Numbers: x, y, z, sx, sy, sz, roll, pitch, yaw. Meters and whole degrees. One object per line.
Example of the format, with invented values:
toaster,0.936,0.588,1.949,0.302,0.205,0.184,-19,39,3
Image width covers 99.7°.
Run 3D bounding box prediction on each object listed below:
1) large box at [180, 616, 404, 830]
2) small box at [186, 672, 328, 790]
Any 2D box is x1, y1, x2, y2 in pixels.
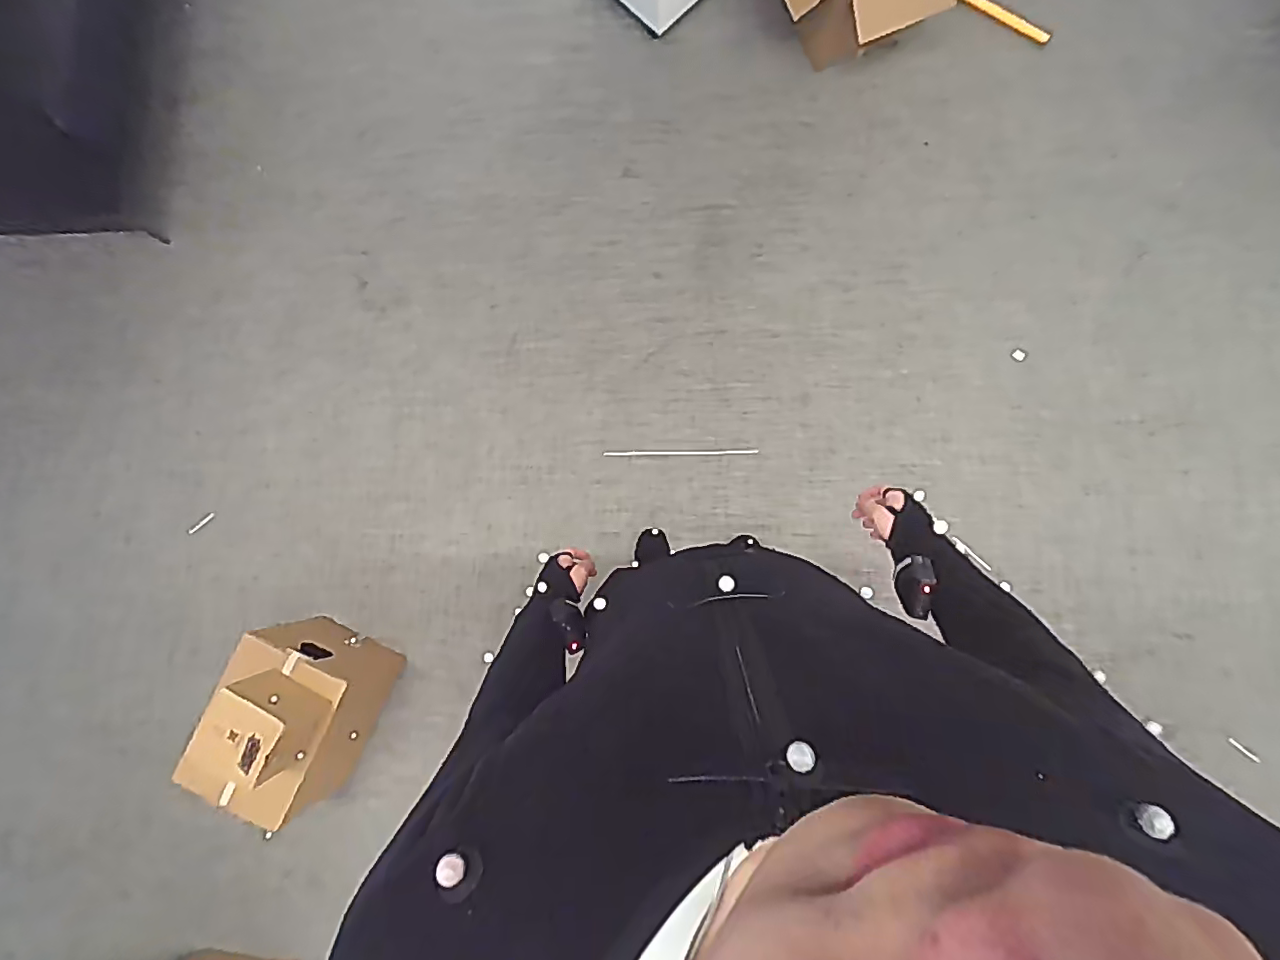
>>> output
large box,-0.938,0.641,1.508,0.320,0.320,0.408,23,86,6
small box,-0.881,0.573,1.264,0.179,0.176,0.168,27,86,4
